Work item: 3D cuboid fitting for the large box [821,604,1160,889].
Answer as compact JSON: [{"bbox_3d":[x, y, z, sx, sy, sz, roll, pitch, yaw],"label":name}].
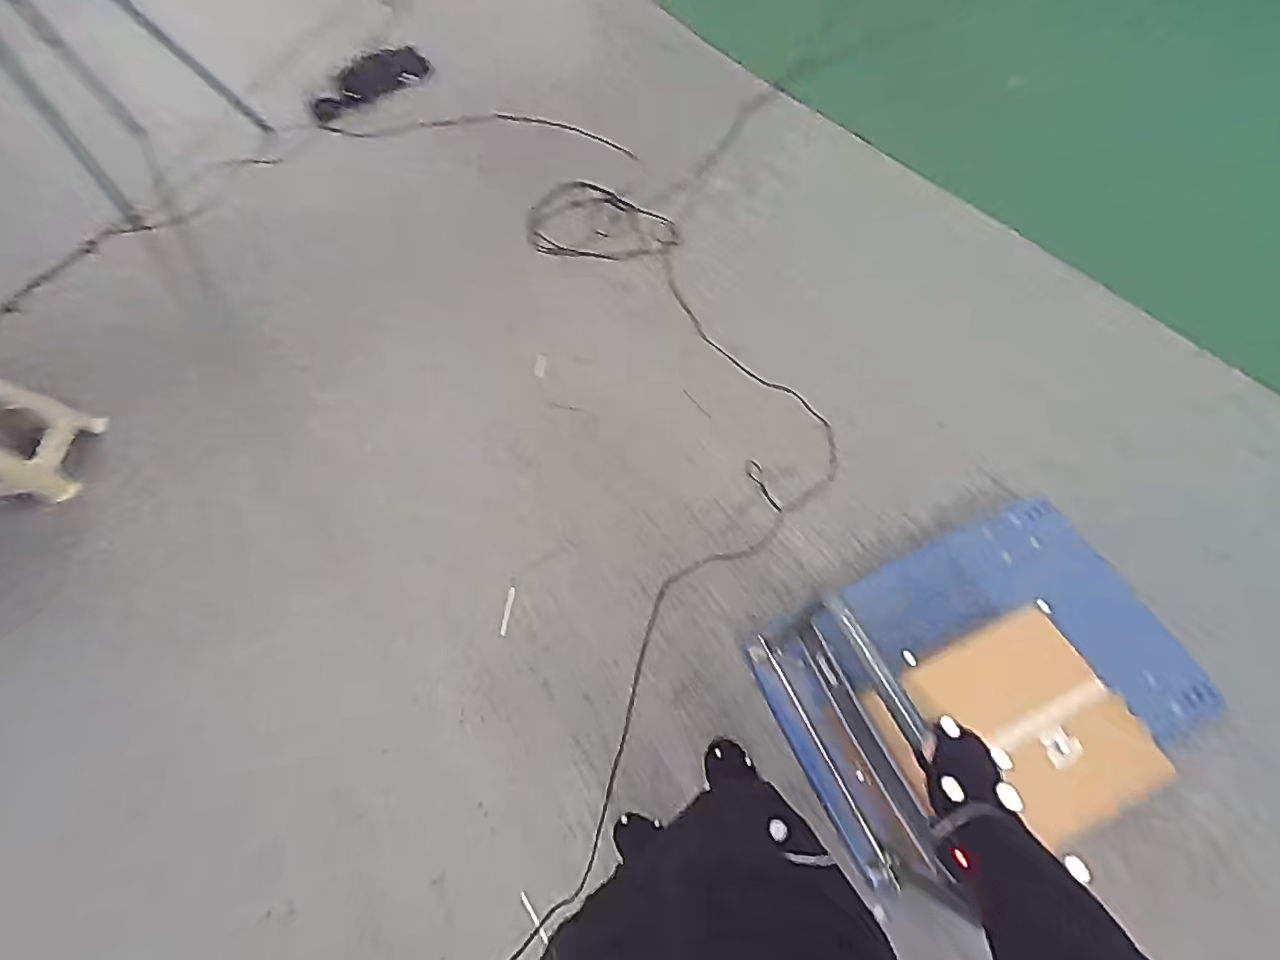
[{"bbox_3d":[0.638,0.506,1.071,0.408,0.320,0.320,-27,65,-6],"label":"large box"}]
